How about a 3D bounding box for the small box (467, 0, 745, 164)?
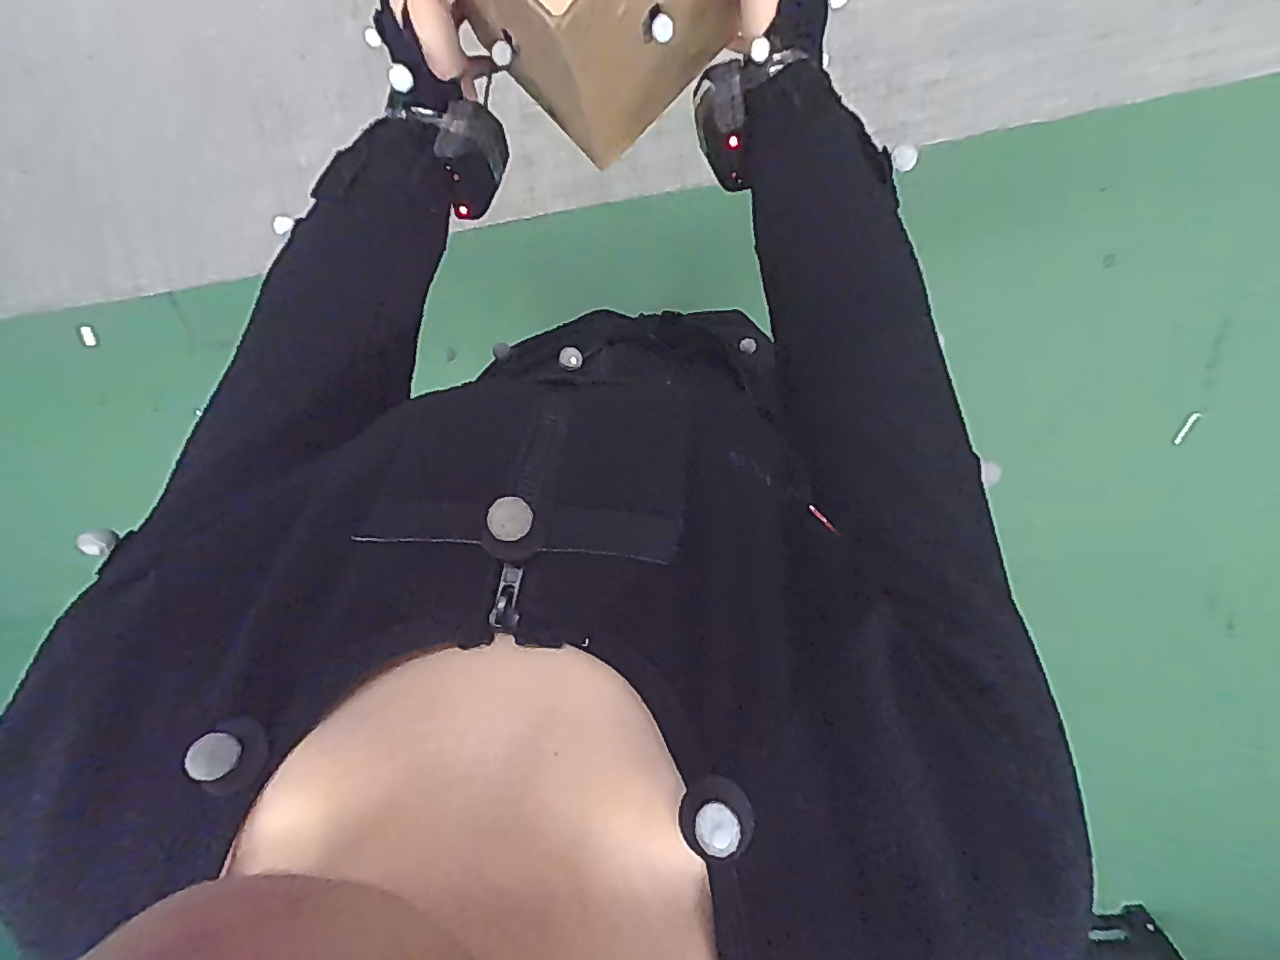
[{"bbox_3d":[-0.030,-0.380,0.389,0.179,0.176,0.168,-44,88,7],"label":"small box"}]
